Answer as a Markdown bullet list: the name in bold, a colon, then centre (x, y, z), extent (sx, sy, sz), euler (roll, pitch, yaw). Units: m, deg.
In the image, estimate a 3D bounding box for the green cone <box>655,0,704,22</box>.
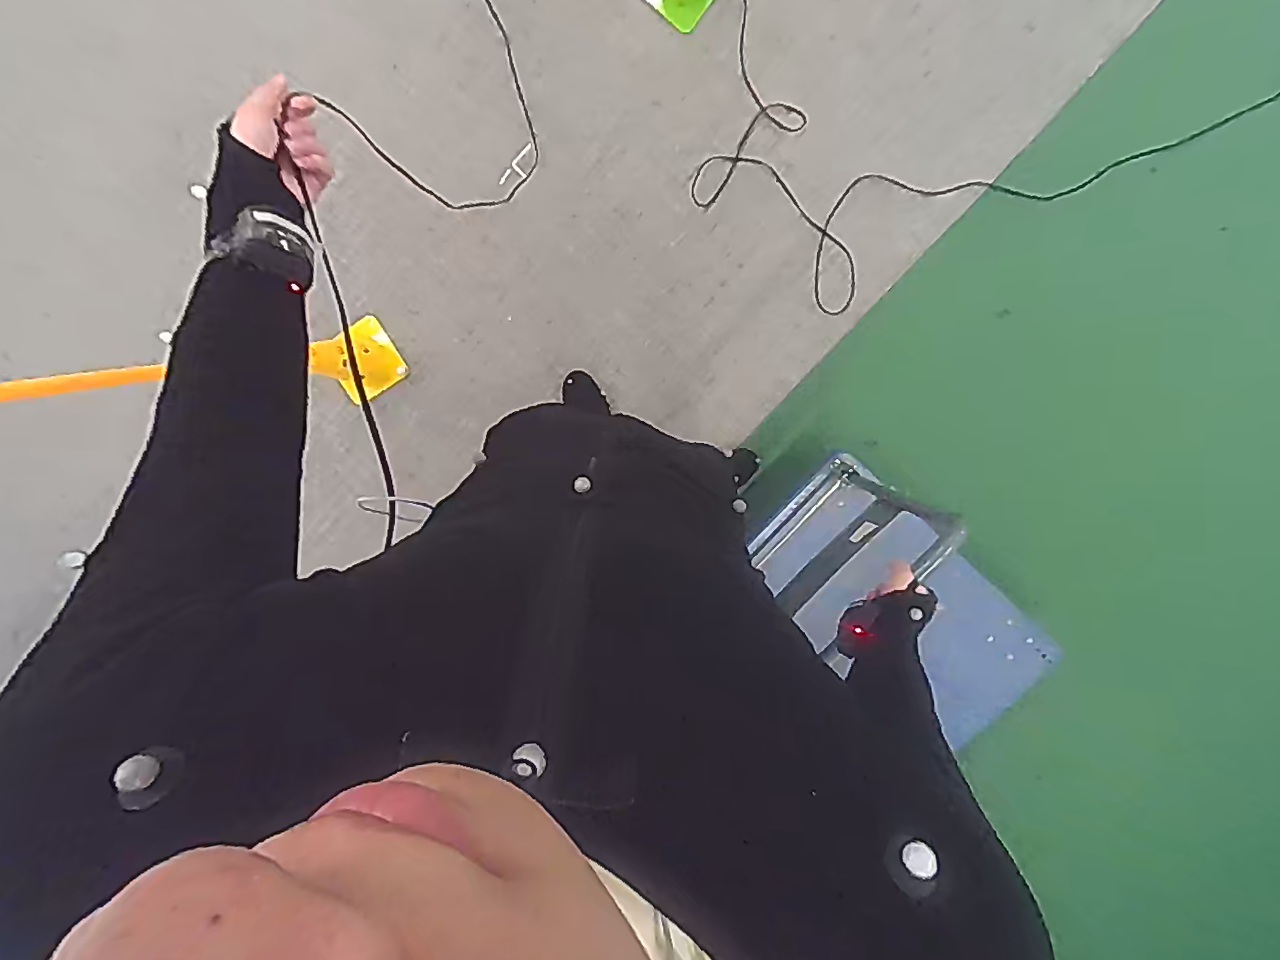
- **green cone**: centre (0.096, -1.260, 1.184), extent (0.200, 0.368, 0.202), euler (38, 98, -5)
